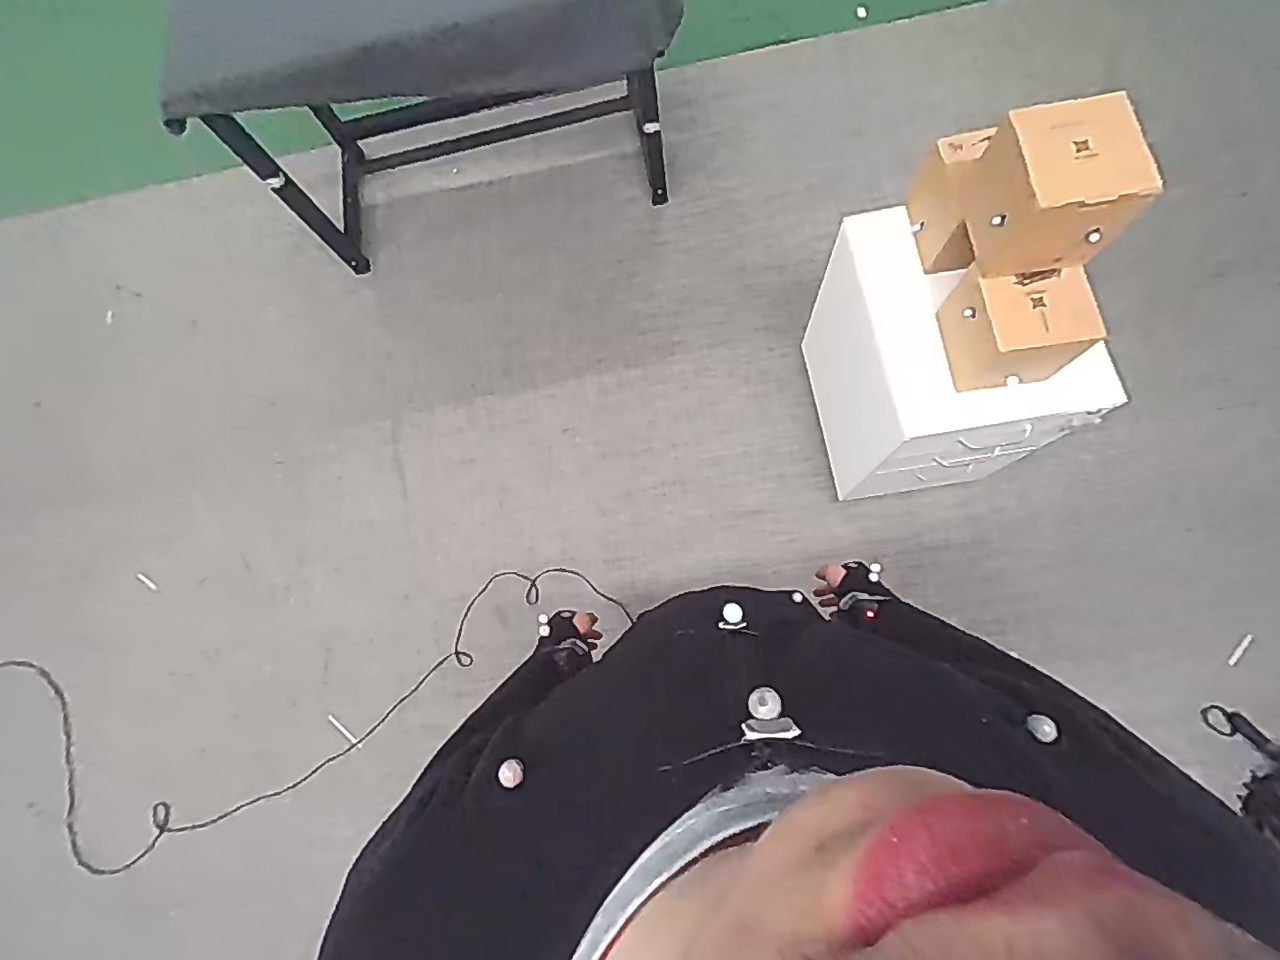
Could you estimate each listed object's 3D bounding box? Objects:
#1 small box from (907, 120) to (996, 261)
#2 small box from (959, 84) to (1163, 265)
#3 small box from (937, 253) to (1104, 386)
[{"bbox_3d":[0.633,-0.539,1.024,0.168,0.176,0.179,-8,78,4],"label":"small box"},{"bbox_3d":[0.630,-0.455,0.836,0.168,0.176,0.179,-7,75,4],"label":"small box"},{"bbox_3d":[0.656,-0.288,0.959,0.168,0.176,0.179,-7,76,6],"label":"small box"}]
